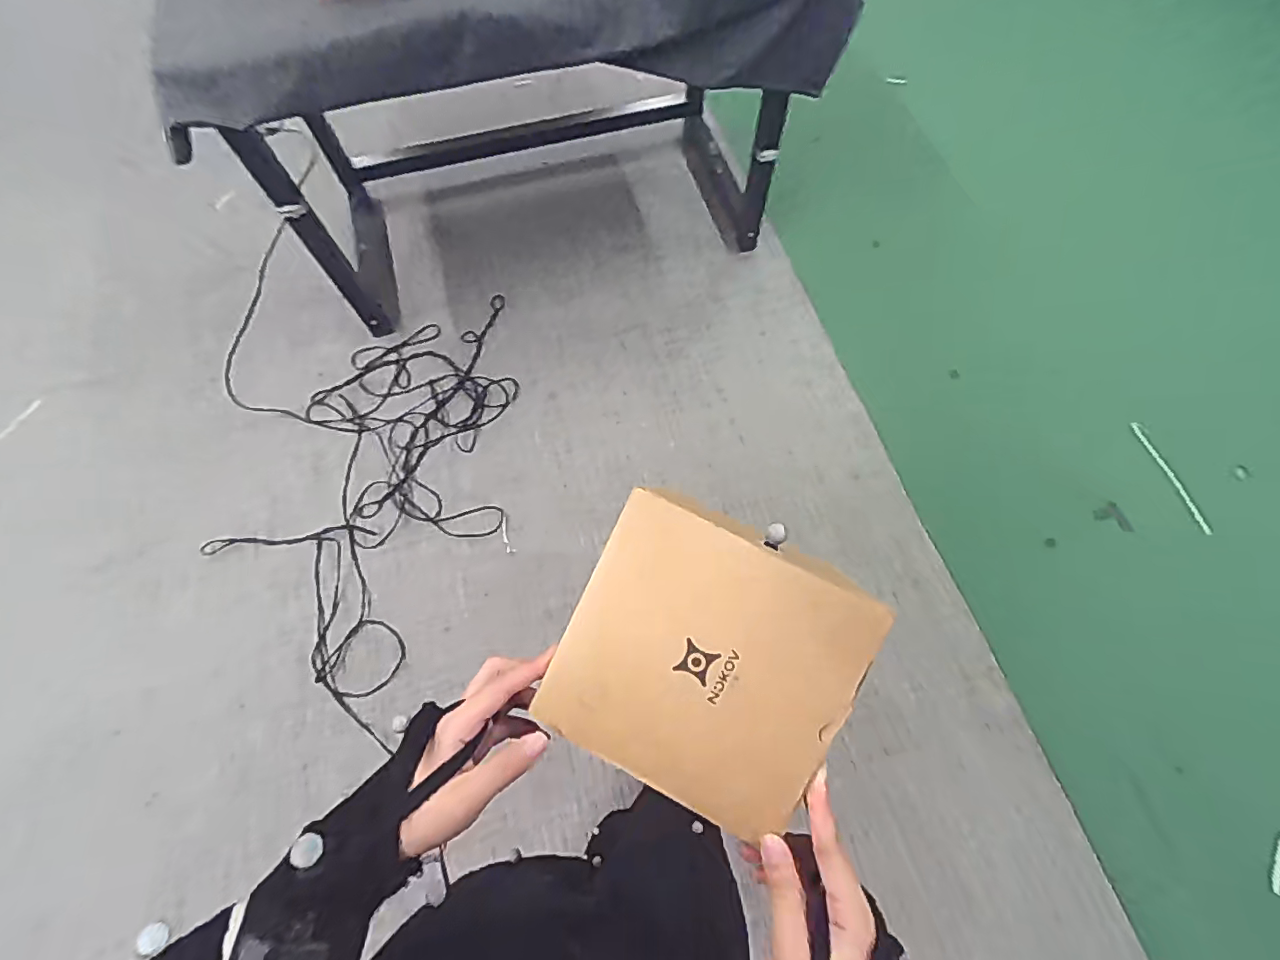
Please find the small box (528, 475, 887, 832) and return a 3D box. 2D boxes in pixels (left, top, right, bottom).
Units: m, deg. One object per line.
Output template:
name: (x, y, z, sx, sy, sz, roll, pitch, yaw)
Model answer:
small box: (0.048, 0.109, 0.415, 0.179, 0.176, 0.168, 25, 92, 8)
